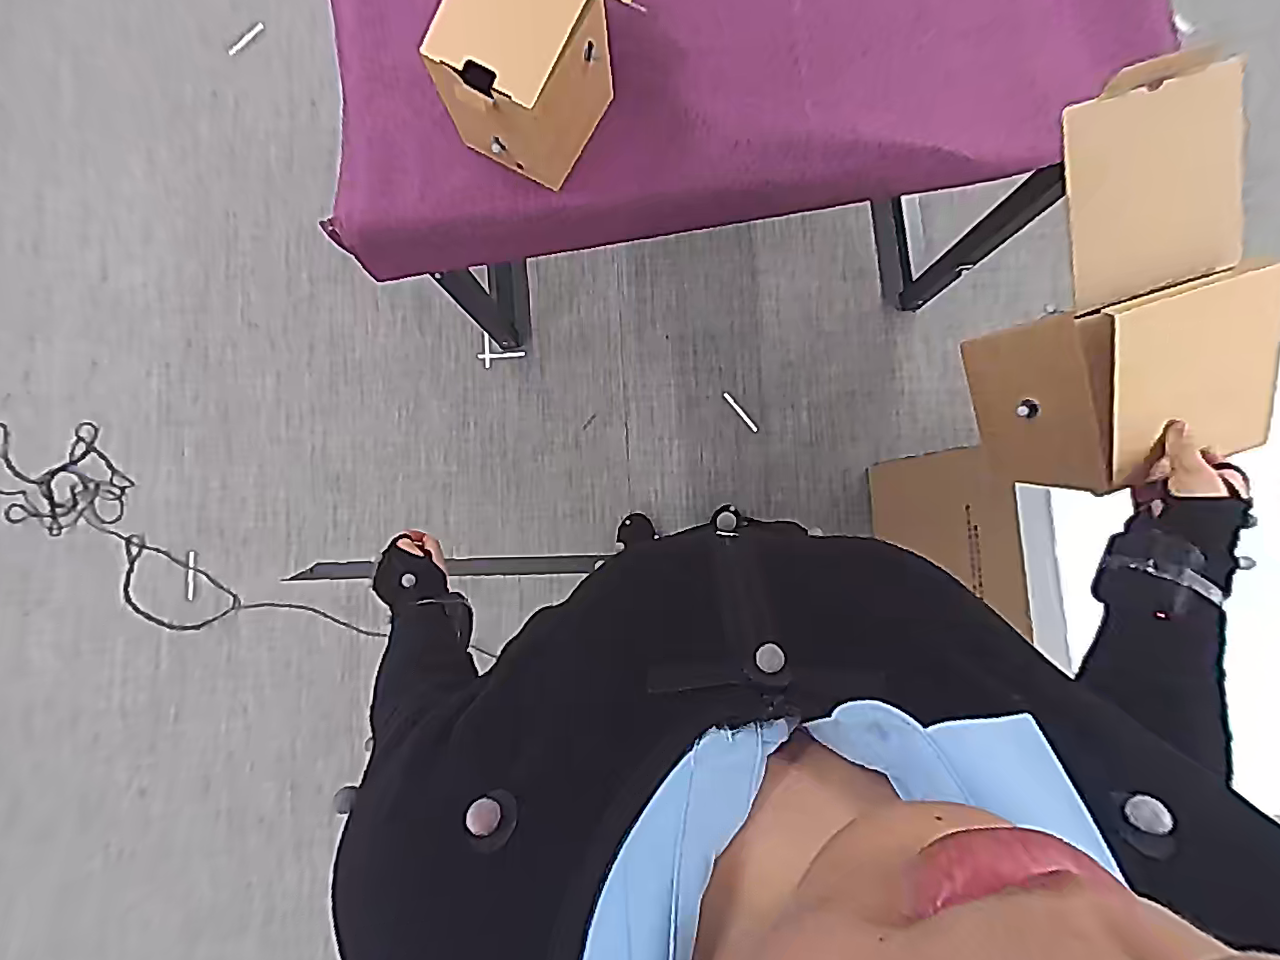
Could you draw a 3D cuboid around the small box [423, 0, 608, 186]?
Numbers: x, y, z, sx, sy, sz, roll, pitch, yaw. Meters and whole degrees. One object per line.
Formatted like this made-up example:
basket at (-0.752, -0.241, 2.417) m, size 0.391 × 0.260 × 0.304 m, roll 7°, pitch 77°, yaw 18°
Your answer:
small box at (-0.154, -0.556, 0.743) m, size 0.168 × 0.176 × 0.179 m, roll 29°, pitch 87°, yaw 4°
